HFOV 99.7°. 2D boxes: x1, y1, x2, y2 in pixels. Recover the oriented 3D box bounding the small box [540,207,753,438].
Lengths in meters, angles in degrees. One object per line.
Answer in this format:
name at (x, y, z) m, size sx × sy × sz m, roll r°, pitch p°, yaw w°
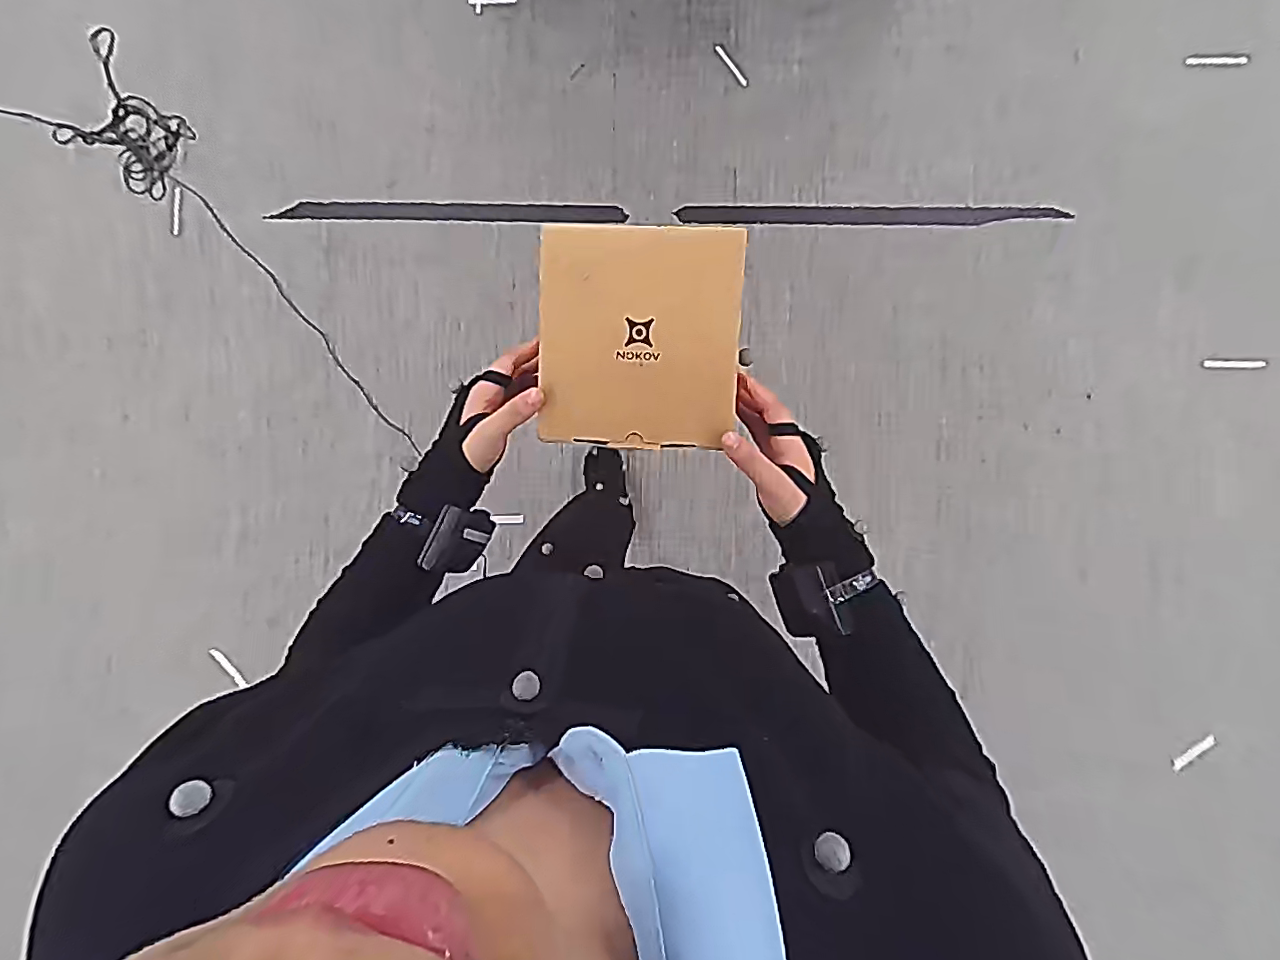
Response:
small box at (0.006, -0.134, 0.511) m, size 0.168 × 0.176 × 0.179 m, roll 3°, pitch 98°, yaw 3°
